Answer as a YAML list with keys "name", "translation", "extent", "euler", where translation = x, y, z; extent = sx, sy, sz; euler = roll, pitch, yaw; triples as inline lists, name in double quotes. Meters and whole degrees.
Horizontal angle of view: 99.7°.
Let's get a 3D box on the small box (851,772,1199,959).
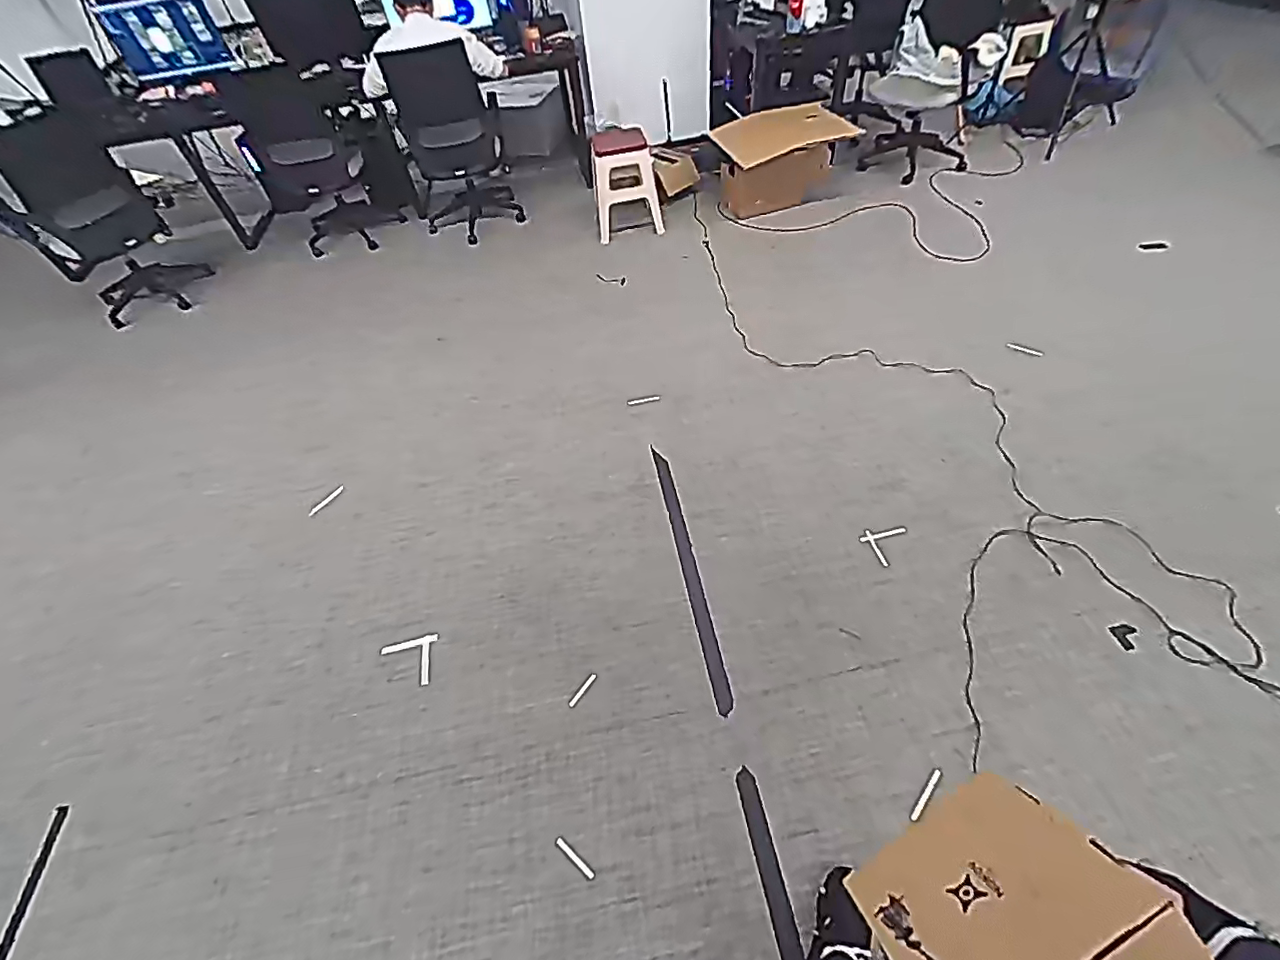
- name: "small box"
  translation: [0.316, 0.391, 0.433]
  extent: [0.179, 0.168, 0.176]
  euler: [-34, 91, -3]
